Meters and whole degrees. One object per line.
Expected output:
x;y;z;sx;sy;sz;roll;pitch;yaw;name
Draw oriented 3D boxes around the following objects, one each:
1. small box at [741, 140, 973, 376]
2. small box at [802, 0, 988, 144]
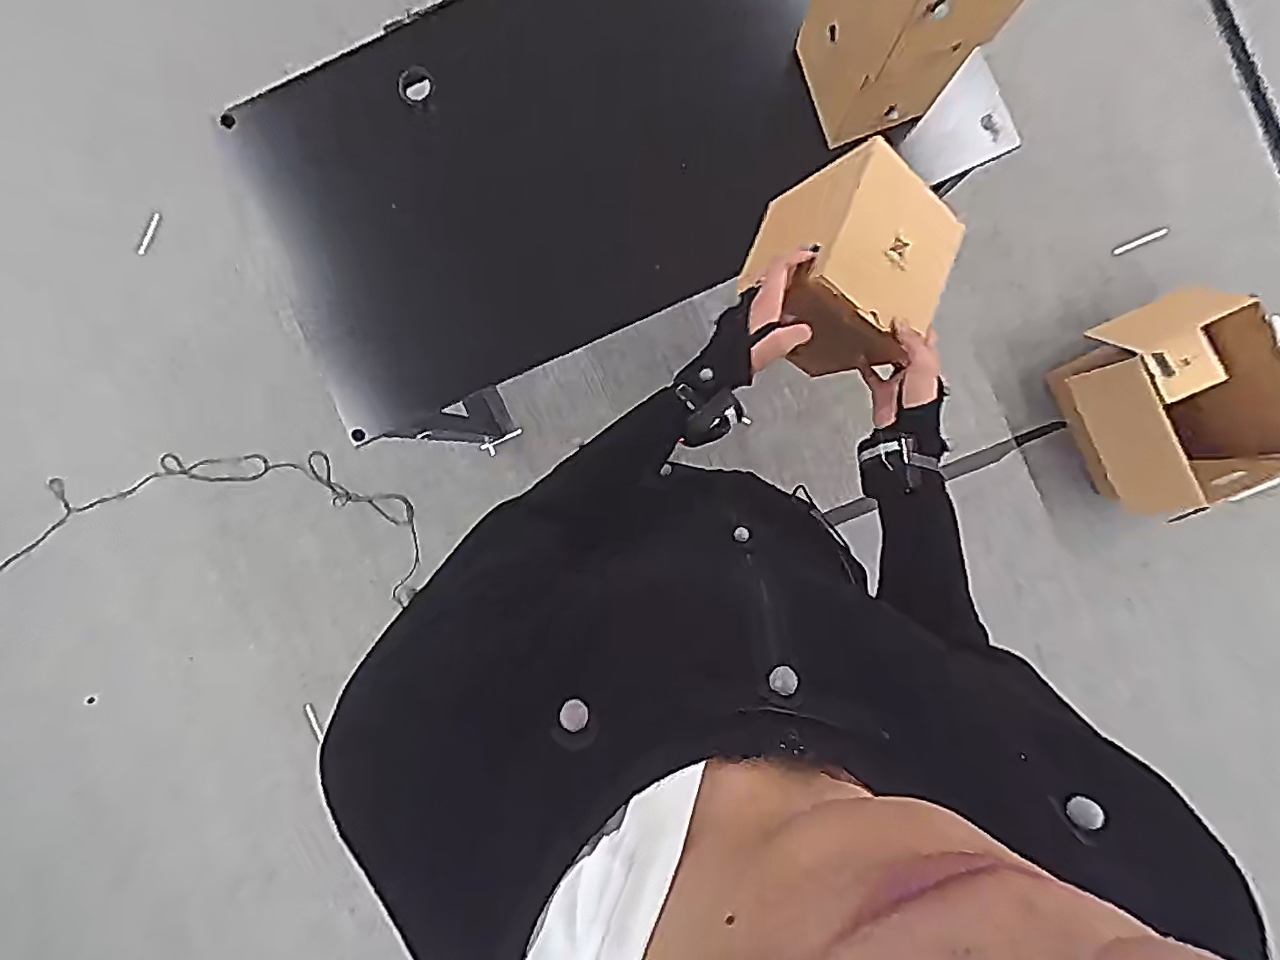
0.250;-0.244;0.647;0.168;0.176;0.179;27;82;-25;small box
0.351;-0.639;0.782;0.168;0.176;0.179;-19;92;4;small box
